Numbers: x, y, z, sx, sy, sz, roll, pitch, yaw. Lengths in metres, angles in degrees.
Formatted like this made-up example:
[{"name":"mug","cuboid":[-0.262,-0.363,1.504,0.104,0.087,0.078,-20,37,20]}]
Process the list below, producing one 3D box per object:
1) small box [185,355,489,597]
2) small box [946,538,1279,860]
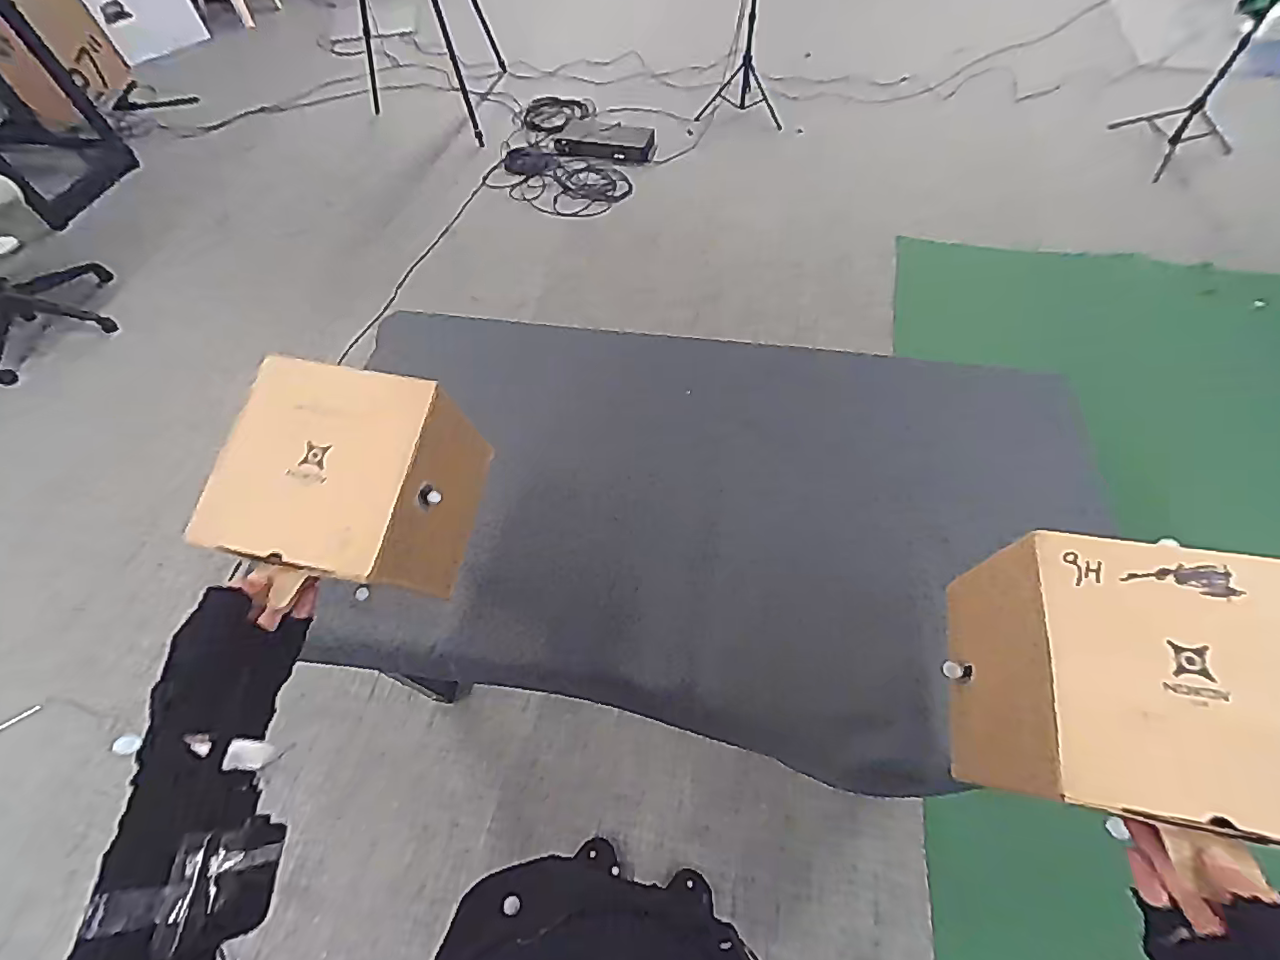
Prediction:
[{"name":"small box","cuboid":[-0.264,0.008,0.522,0.168,0.176,0.179,10,72,5]},{"name":"small box","cuboid":[0.355,0.161,0.414,0.168,0.176,0.179,7,67,10]}]
